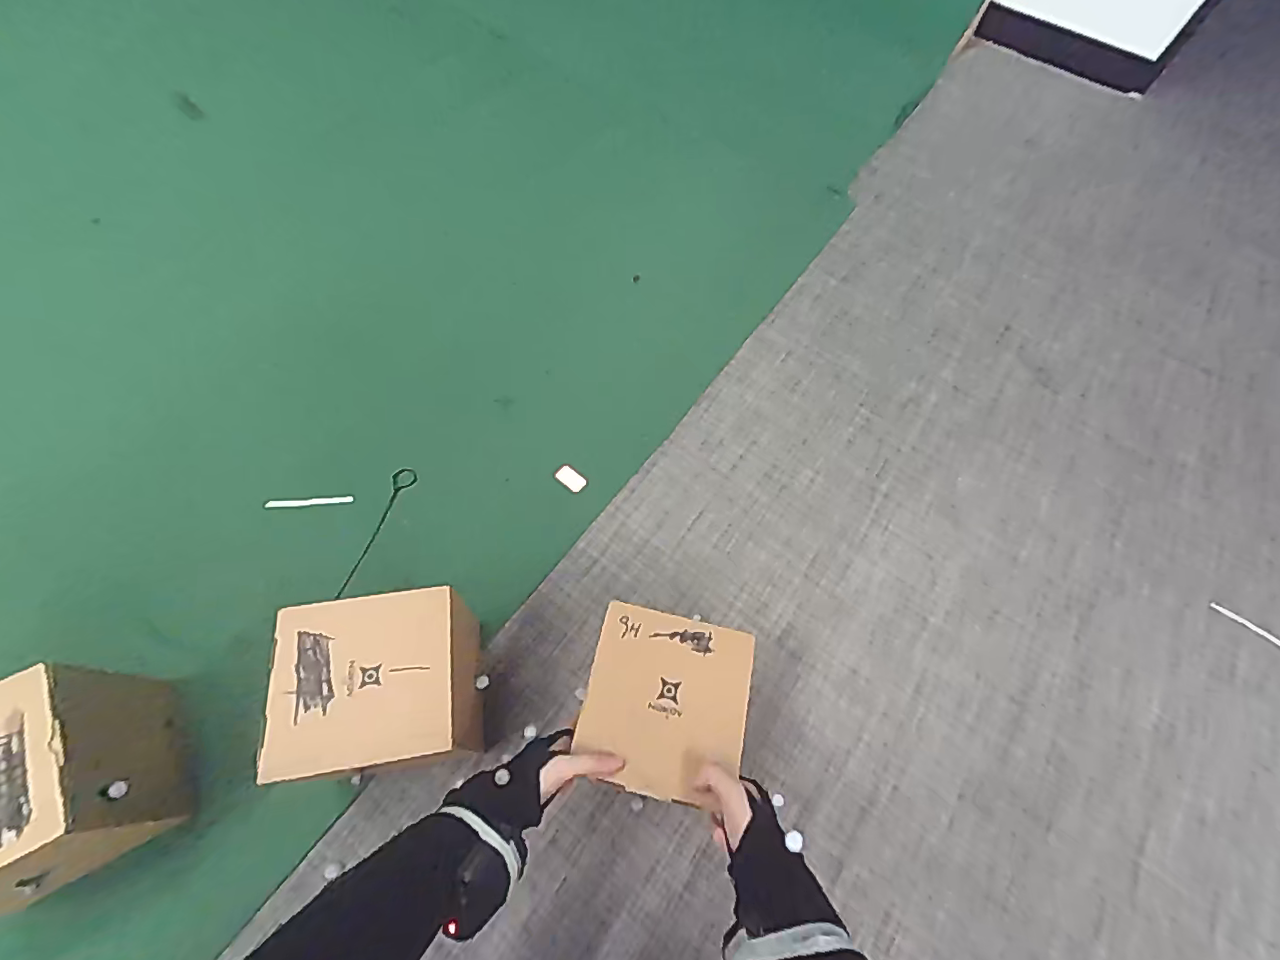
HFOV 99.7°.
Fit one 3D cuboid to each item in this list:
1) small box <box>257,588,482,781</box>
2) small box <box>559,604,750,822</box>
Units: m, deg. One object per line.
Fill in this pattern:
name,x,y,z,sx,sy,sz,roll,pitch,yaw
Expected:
small box,-0.285,0.235,0.612,0.179,0.176,0.168,-6,63,-9
small box,0.016,0.264,0.620,0.168,0.176,0.179,13,62,3
